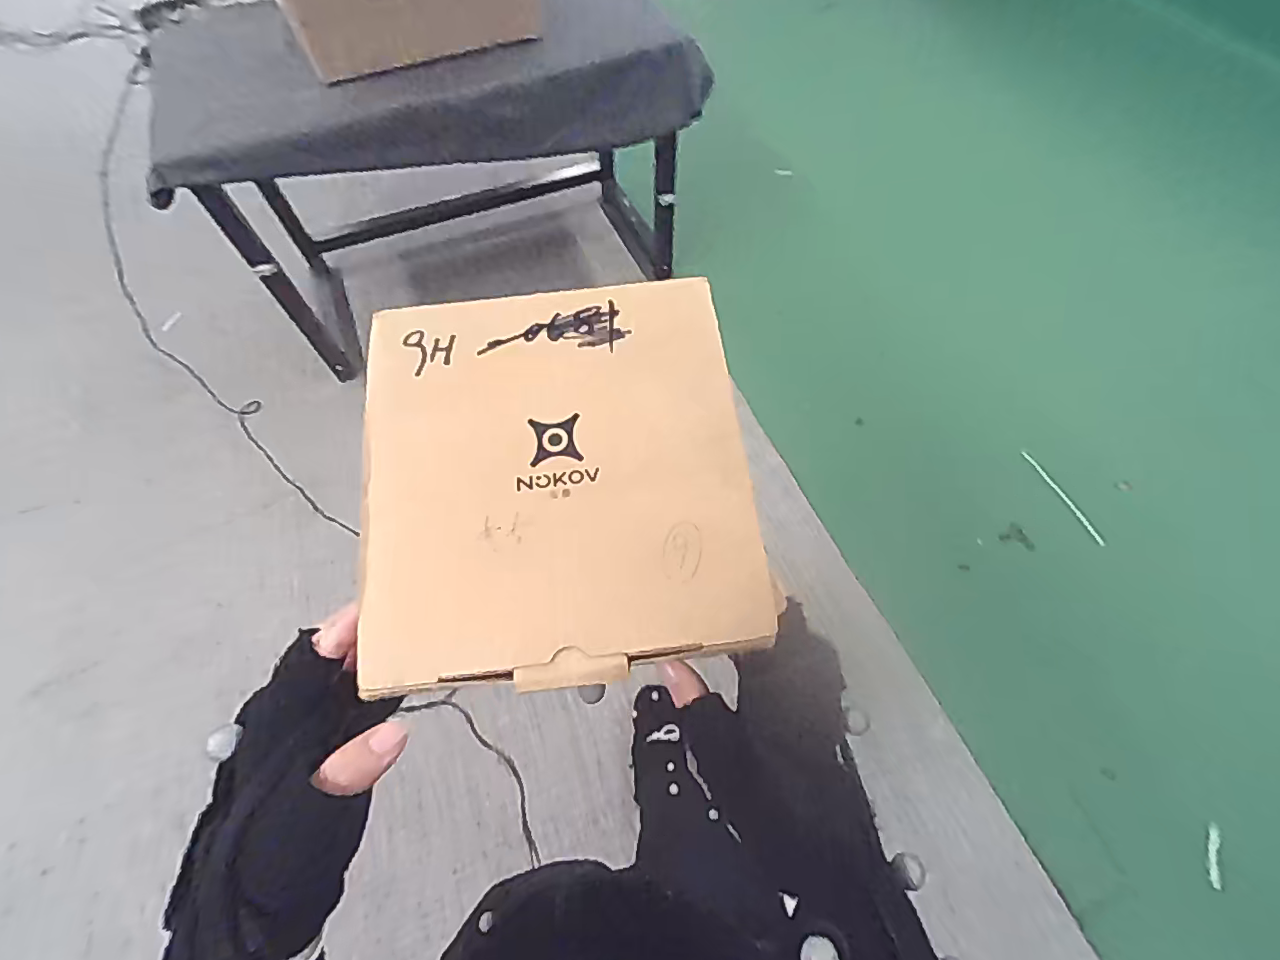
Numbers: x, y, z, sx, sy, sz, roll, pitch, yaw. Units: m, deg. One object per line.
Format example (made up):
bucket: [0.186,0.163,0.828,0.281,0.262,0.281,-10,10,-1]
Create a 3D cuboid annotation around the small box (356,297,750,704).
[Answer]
small box: [-0.043,0.023,0.320,0.168,0.176,0.179,-7,72,-2]
